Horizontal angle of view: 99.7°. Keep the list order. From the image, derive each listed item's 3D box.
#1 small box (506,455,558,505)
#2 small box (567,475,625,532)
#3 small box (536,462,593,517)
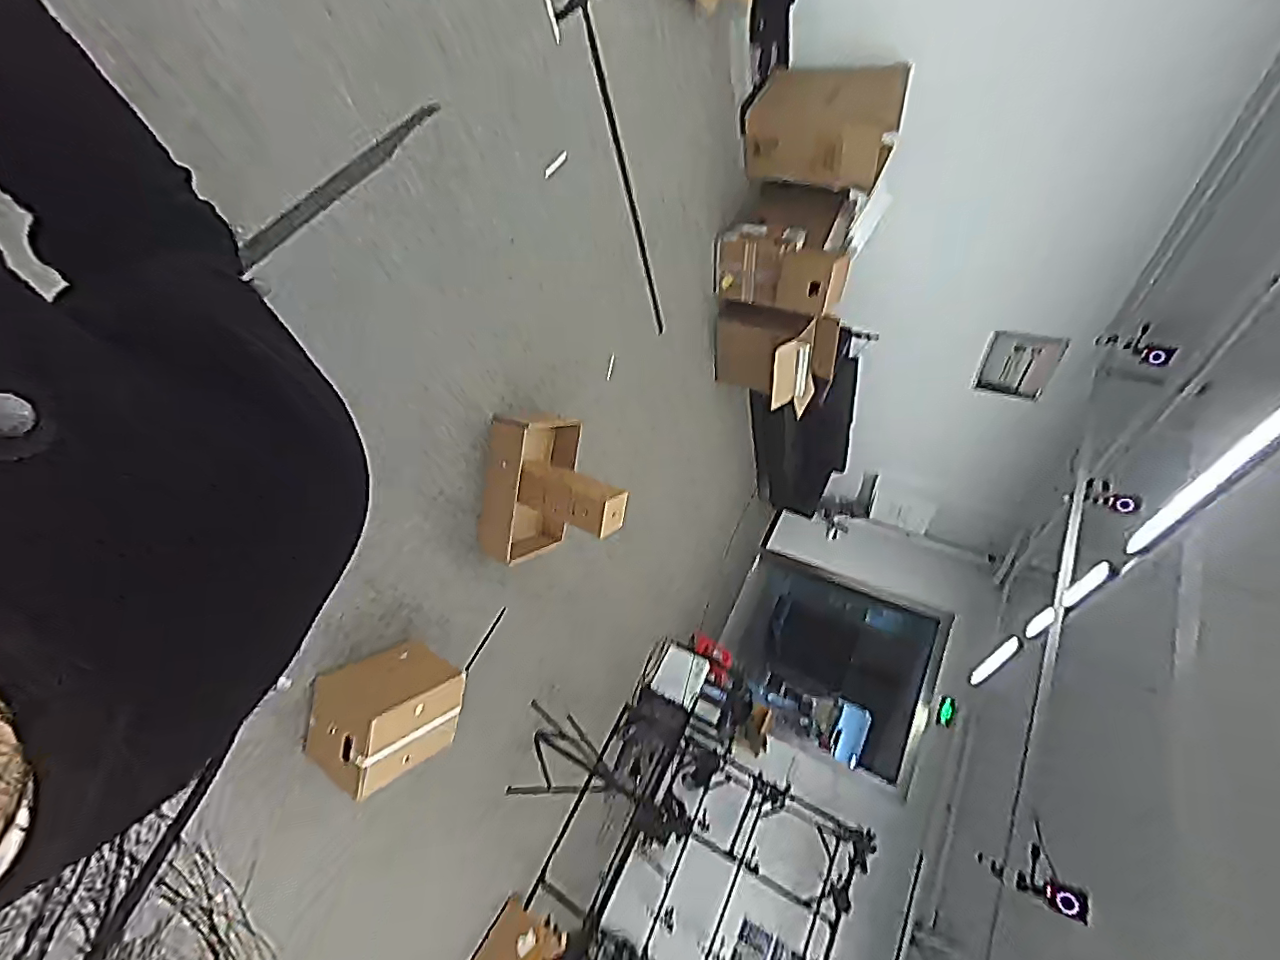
[{"bbox_3d":[-0.468,-0.007,2.400,0.179,0.176,0.168,-18,123,-59],"label":"small box"},{"bbox_3d":[-0.187,0.092,2.265,0.179,0.176,0.168,-25,131,-57],"label":"small box"},{"bbox_3d":[-0.327,0.036,2.333,0.179,0.176,0.168,-26,132,-58],"label":"small box"}]
